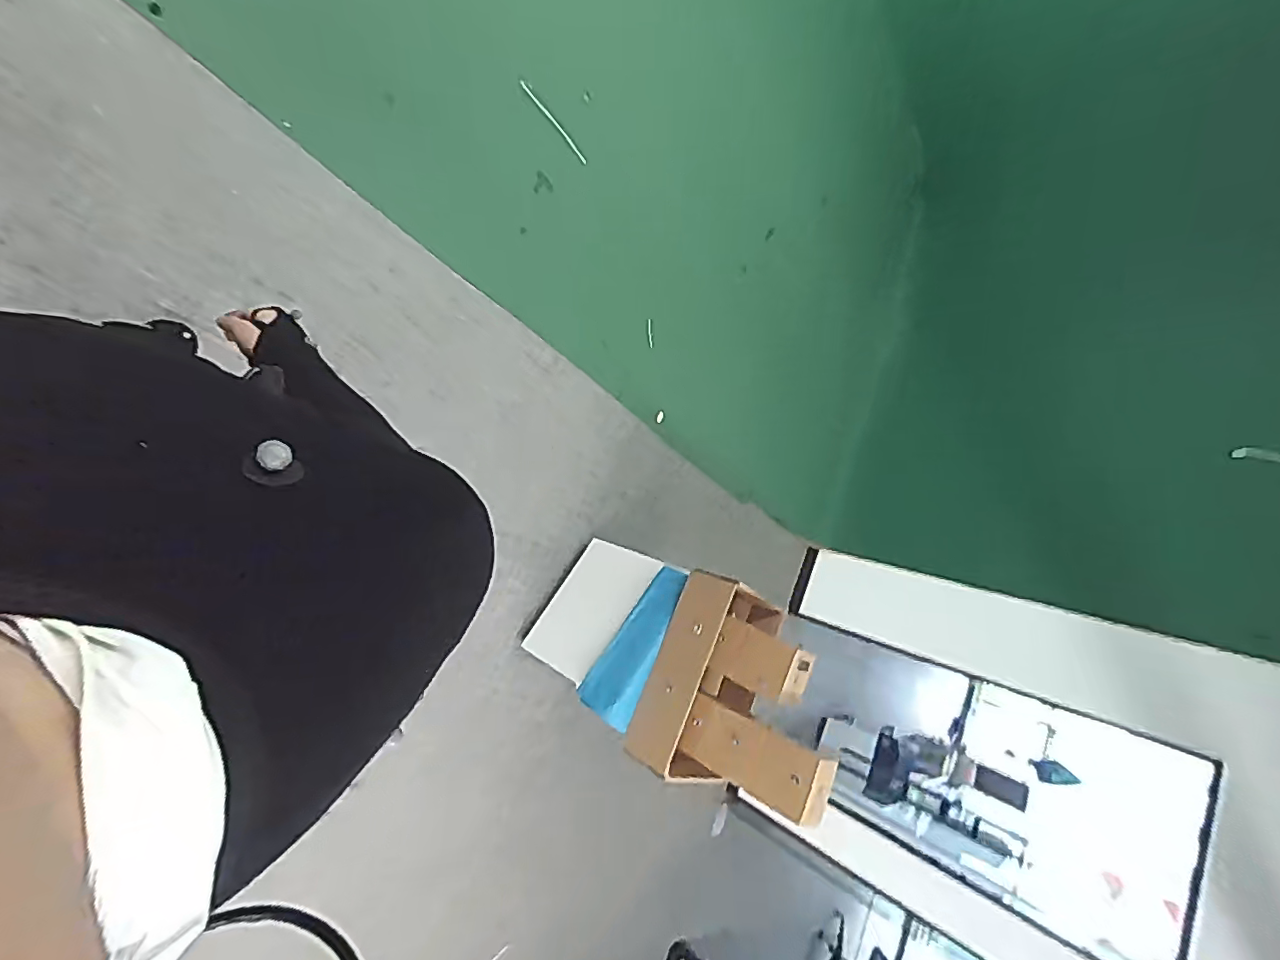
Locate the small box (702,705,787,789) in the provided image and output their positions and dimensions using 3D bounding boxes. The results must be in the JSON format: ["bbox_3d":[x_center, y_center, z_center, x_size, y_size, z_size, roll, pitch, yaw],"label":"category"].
[{"bbox_3d":[0.311,0.796,1.620,0.168,0.176,0.179,34,73,-45],"label":"small box"}]

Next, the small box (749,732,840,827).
[{"bbox_3d":[0.430,0.832,1.511,0.168,0.176,0.179,37,73,-44],"label":"small box"}]
